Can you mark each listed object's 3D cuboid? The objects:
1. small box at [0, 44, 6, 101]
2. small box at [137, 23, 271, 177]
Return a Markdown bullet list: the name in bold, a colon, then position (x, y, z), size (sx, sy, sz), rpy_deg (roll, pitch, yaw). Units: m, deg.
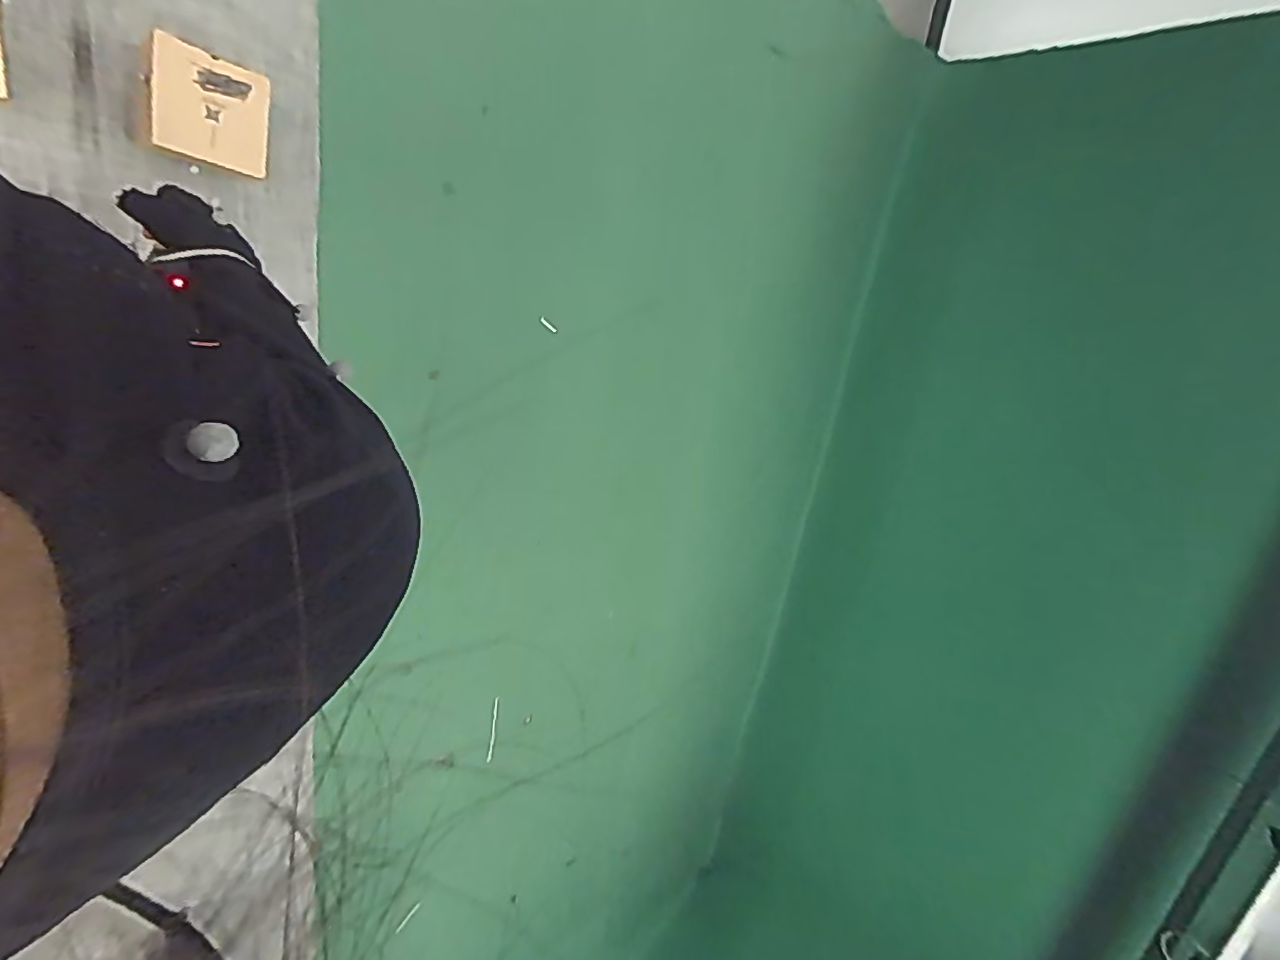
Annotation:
- **small box**: position (-1.026, -0.664, 0.757), size (0.168, 0.176, 0.179), rpy_deg (-8, 114, -48)
- **small box**: position (-0.809, -0.685, 1.000), size (0.168, 0.176, 0.179), rpy_deg (-3, 111, -49)
